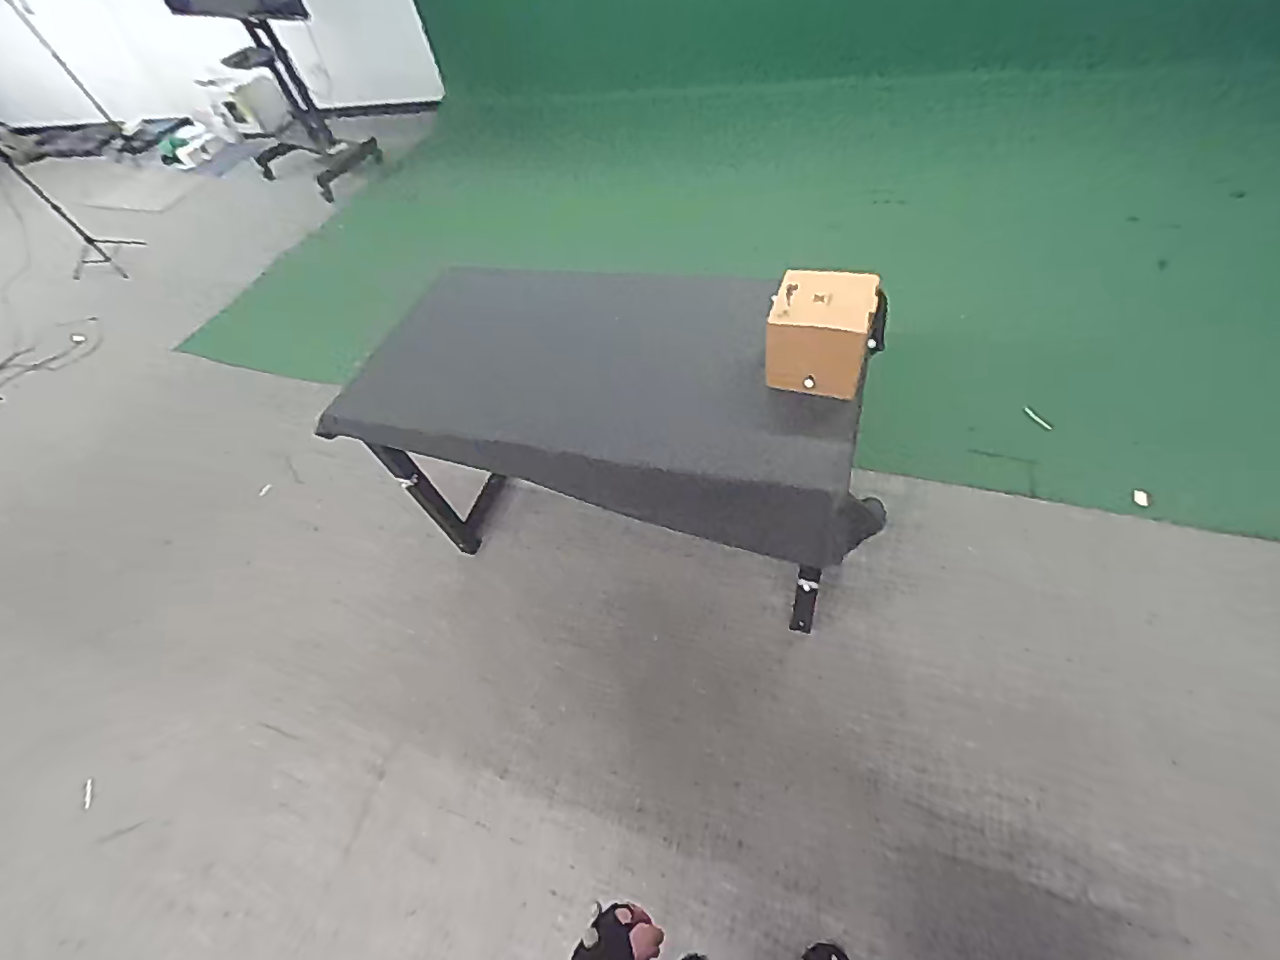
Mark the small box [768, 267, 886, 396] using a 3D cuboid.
[{"bbox_3d":[0.360,-0.288,1.059,0.179,0.176,0.168,15,58,20],"label":"small box"}]
